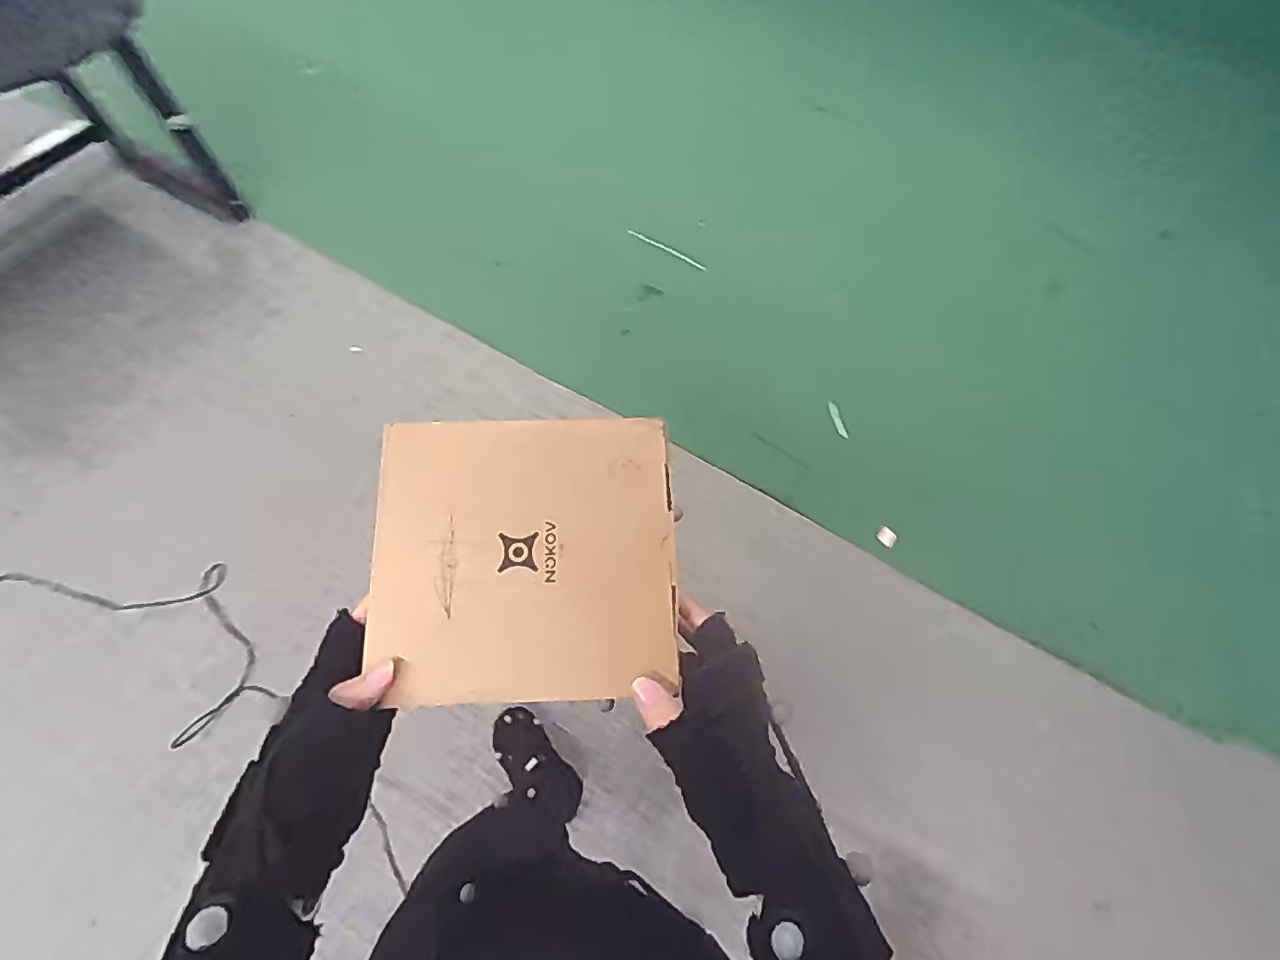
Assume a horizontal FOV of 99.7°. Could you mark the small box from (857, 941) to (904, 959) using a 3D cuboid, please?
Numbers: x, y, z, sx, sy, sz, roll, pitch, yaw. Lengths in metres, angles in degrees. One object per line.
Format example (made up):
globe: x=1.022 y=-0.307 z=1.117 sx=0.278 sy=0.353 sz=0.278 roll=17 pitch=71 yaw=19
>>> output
small box: x=0.443 y=0.903 z=0.866 sx=0.168 sy=0.176 sz=0.179 roll=25 pitch=67 yaw=7
